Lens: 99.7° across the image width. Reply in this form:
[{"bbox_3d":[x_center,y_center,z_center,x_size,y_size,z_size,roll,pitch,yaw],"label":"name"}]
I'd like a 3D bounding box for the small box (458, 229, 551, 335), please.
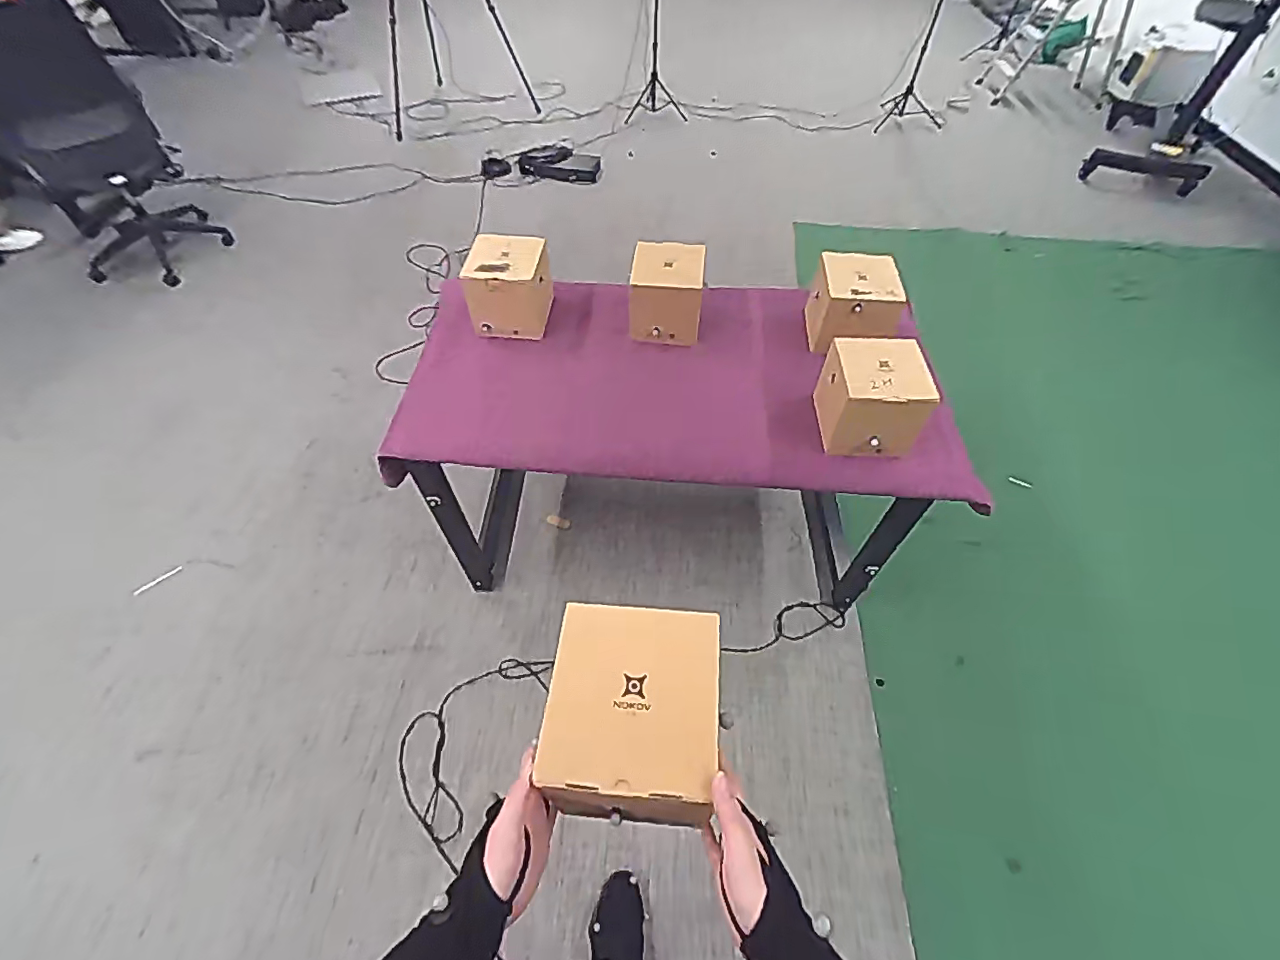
[{"bbox_3d":[-0.312,-0.468,1.287,0.168,0.176,0.179,5,55,1],"label":"small box"}]

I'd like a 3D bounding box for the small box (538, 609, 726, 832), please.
[{"bbox_3d":[-0.001,0.261,0.581,0.168,0.176,0.179,4,54,4],"label":"small box"}]

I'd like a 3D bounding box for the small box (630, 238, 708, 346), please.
[{"bbox_3d":[0.066,-0.447,1.290,0.168,0.176,0.179,6,56,3],"label":"small box"}]

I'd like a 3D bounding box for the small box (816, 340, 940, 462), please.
[{"bbox_3d":[0.467,-0.159,1.094,0.168,0.176,0.179,3,55,2],"label":"small box"}]

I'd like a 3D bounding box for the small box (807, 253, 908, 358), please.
[{"bbox_3d":[0.500,-0.405,1.273,0.168,0.176,0.179,4,55,2],"label":"small box"}]
